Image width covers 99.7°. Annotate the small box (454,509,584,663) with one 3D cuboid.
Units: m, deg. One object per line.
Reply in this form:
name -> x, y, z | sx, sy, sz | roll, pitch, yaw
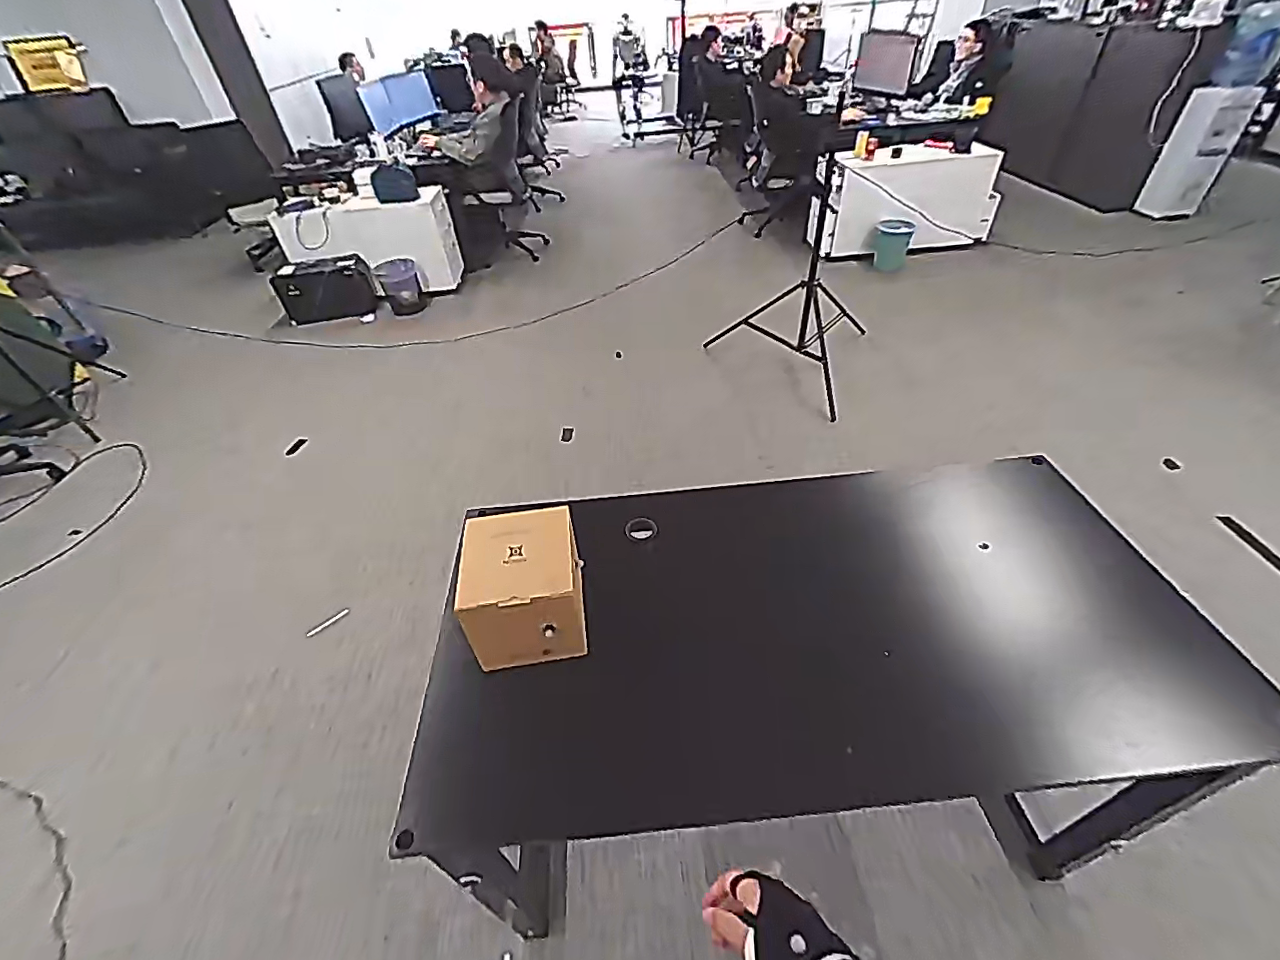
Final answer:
small box -> -0.184, 0.174, 0.864 | 0.168, 0.176, 0.179 | -7, 41, -5
